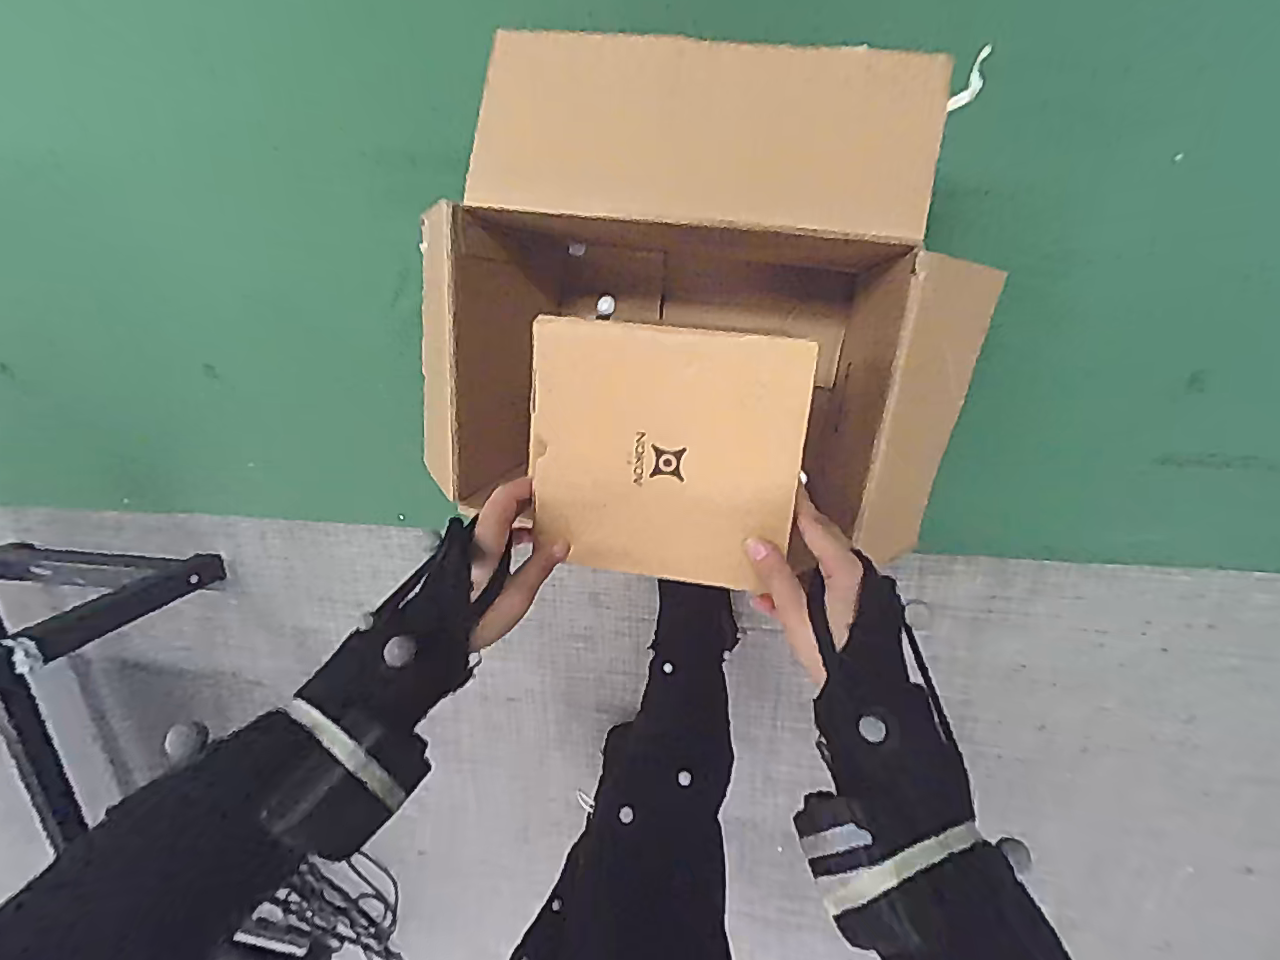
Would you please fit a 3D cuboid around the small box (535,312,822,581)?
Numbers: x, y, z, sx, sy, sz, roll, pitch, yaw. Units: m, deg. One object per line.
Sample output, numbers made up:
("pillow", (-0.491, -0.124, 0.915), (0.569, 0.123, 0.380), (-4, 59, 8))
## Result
("small box", (0.030, -0.041, 0.426), (0.179, 0.176, 0.168), (7, 107, 9))
